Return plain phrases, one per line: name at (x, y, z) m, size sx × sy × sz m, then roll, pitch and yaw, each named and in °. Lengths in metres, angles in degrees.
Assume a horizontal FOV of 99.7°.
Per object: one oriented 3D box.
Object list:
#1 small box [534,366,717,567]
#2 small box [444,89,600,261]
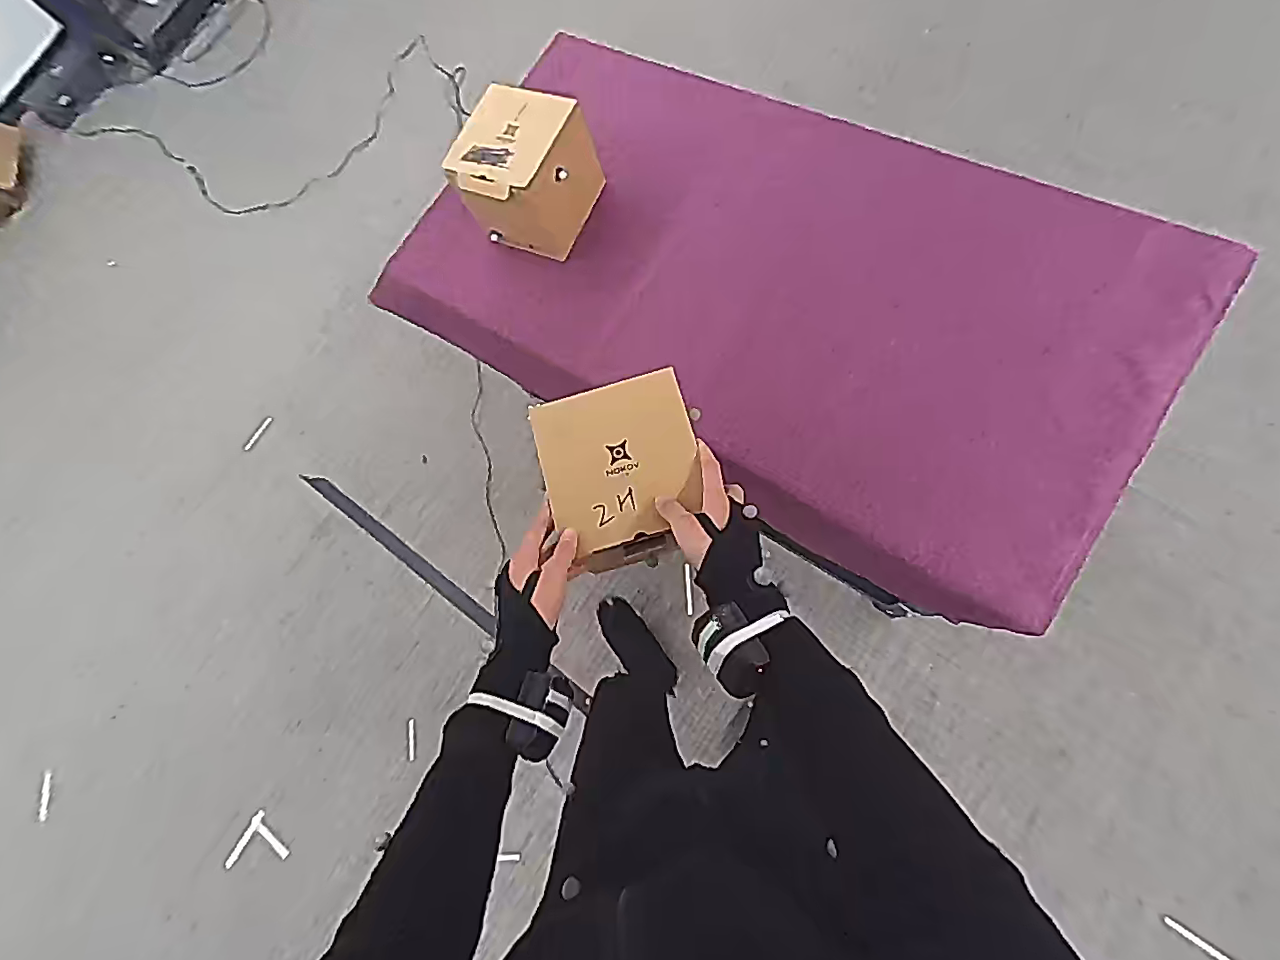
small box at (-0.012, -0.006, 0.645) m, size 0.168 × 0.176 × 0.179 m, roll -15°, pitch 75°, yaw 3°
small box at (-0.186, -0.506, 0.915) m, size 0.168 × 0.176 × 0.179 m, roll 23°, pitch 80°, yaw 16°
